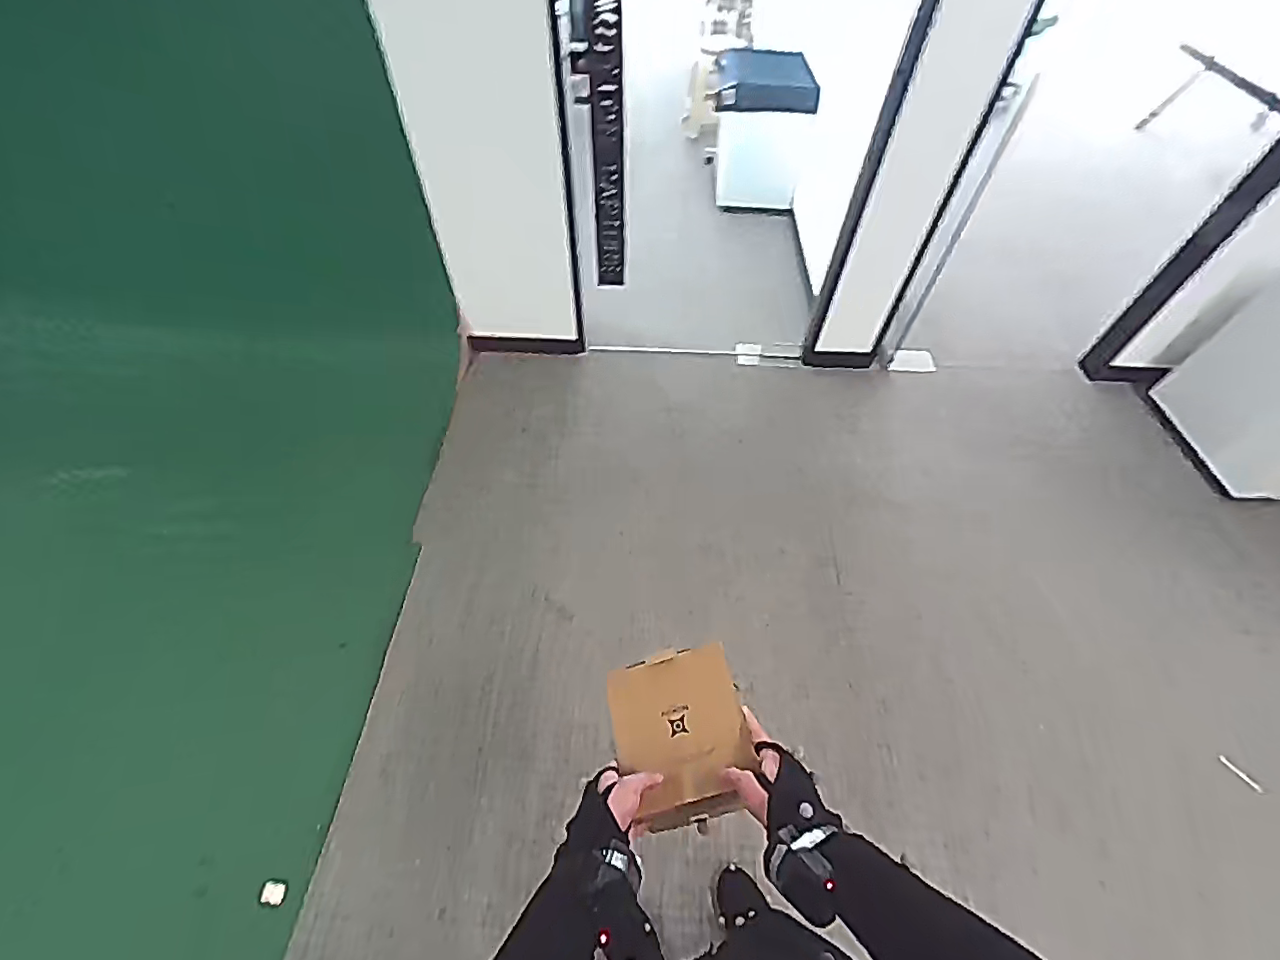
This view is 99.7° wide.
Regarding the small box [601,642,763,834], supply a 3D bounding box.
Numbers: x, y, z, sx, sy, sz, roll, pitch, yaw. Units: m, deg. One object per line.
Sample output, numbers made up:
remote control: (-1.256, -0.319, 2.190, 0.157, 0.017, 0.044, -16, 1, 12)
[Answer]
small box: (0.057, 0.345, 0.717, 0.168, 0.176, 0.179, -17, 50, 4)
